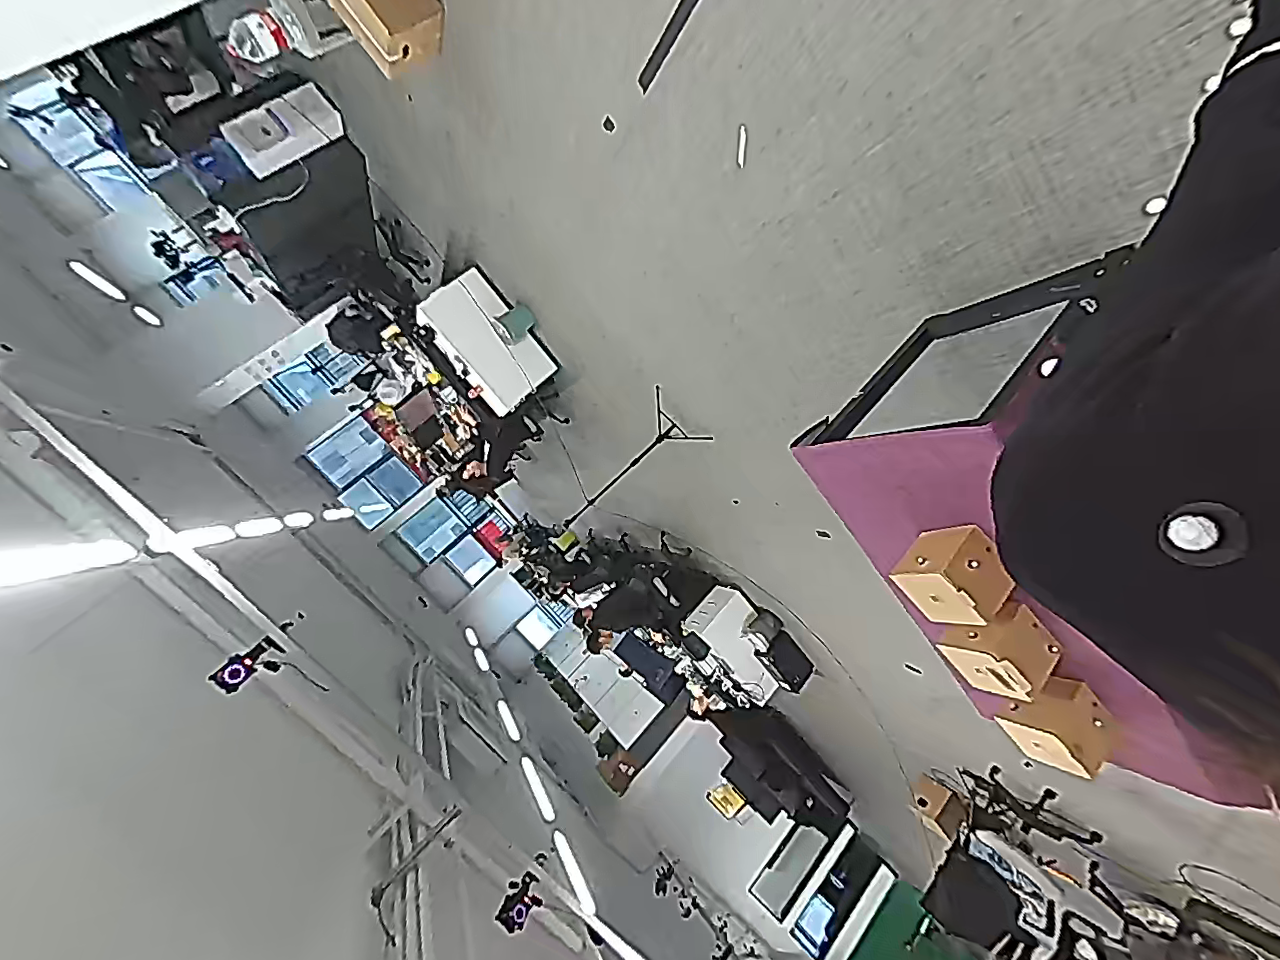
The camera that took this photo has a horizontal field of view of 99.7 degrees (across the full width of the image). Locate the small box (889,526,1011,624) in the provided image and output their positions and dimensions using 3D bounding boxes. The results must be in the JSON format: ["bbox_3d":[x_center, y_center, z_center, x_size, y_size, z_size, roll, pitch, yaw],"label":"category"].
[{"bbox_3d":[0.763,0.228,1.321,0.168,0.176,0.179,47,162,-2],"label":"small box"}]

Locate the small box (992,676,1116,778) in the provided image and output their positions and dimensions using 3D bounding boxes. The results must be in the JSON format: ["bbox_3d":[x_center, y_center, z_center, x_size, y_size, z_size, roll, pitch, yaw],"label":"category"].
[{"bbox_3d":[1.099,0.640,1.437,0.168,0.176,0.179,48,162,-6],"label":"small box"}]

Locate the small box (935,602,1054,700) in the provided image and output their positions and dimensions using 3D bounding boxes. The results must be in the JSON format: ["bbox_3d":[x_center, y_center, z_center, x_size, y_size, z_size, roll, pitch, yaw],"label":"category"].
[{"bbox_3d":[0.918,0.428,1.393,0.168,0.176,0.179,48,163,-4],"label":"small box"}]
